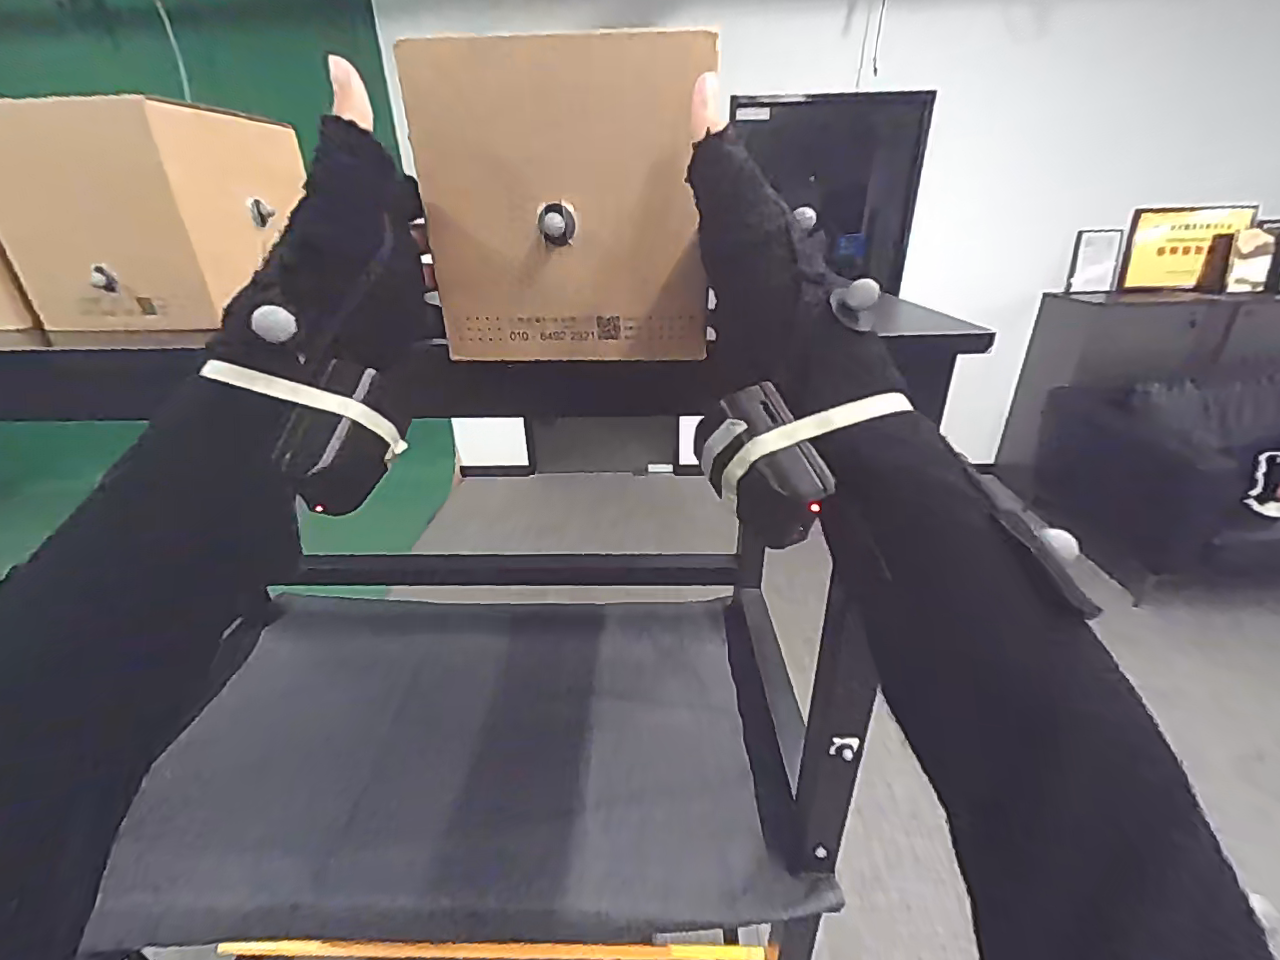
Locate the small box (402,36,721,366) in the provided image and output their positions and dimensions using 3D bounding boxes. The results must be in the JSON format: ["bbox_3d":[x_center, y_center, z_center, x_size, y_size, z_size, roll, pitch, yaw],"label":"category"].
[{"bbox_3d":[-0.034,-0.184,0.378,0.168,0.176,0.179,1,29,2],"label":"small box"}]
